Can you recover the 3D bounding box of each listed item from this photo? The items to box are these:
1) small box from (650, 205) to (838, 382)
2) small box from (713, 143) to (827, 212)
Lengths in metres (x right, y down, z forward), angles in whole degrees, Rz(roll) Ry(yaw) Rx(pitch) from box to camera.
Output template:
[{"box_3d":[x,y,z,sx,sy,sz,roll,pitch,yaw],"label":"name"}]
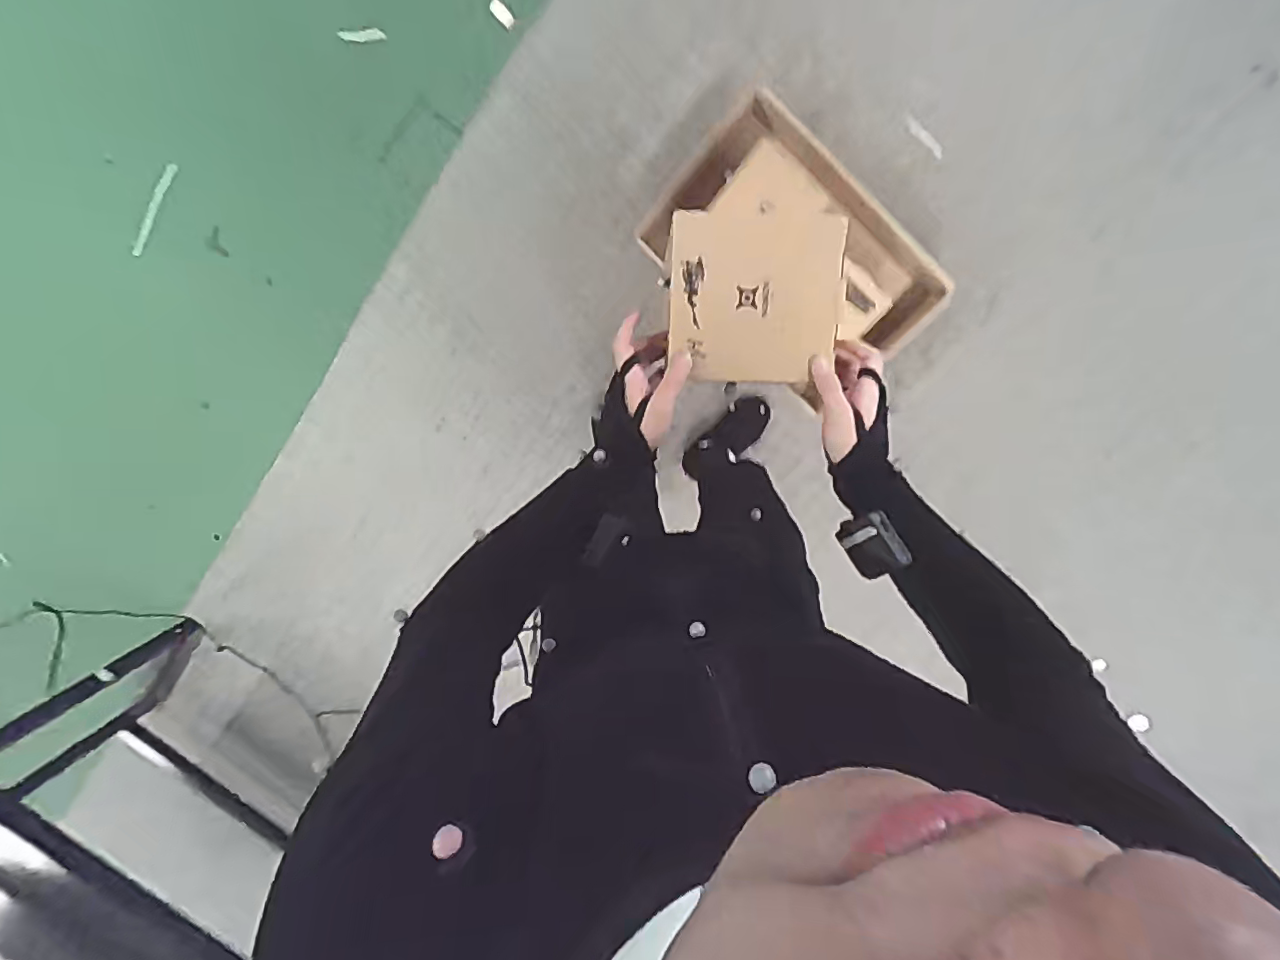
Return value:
[{"box_3d":[0.104,-0.198,0.618,0.179,0.176,0.168,1,99,0],"label":"small box"},{"box_3d":[0.242,-0.521,1.082,0.168,0.176,0.179,40,109,-6],"label":"small box"}]
